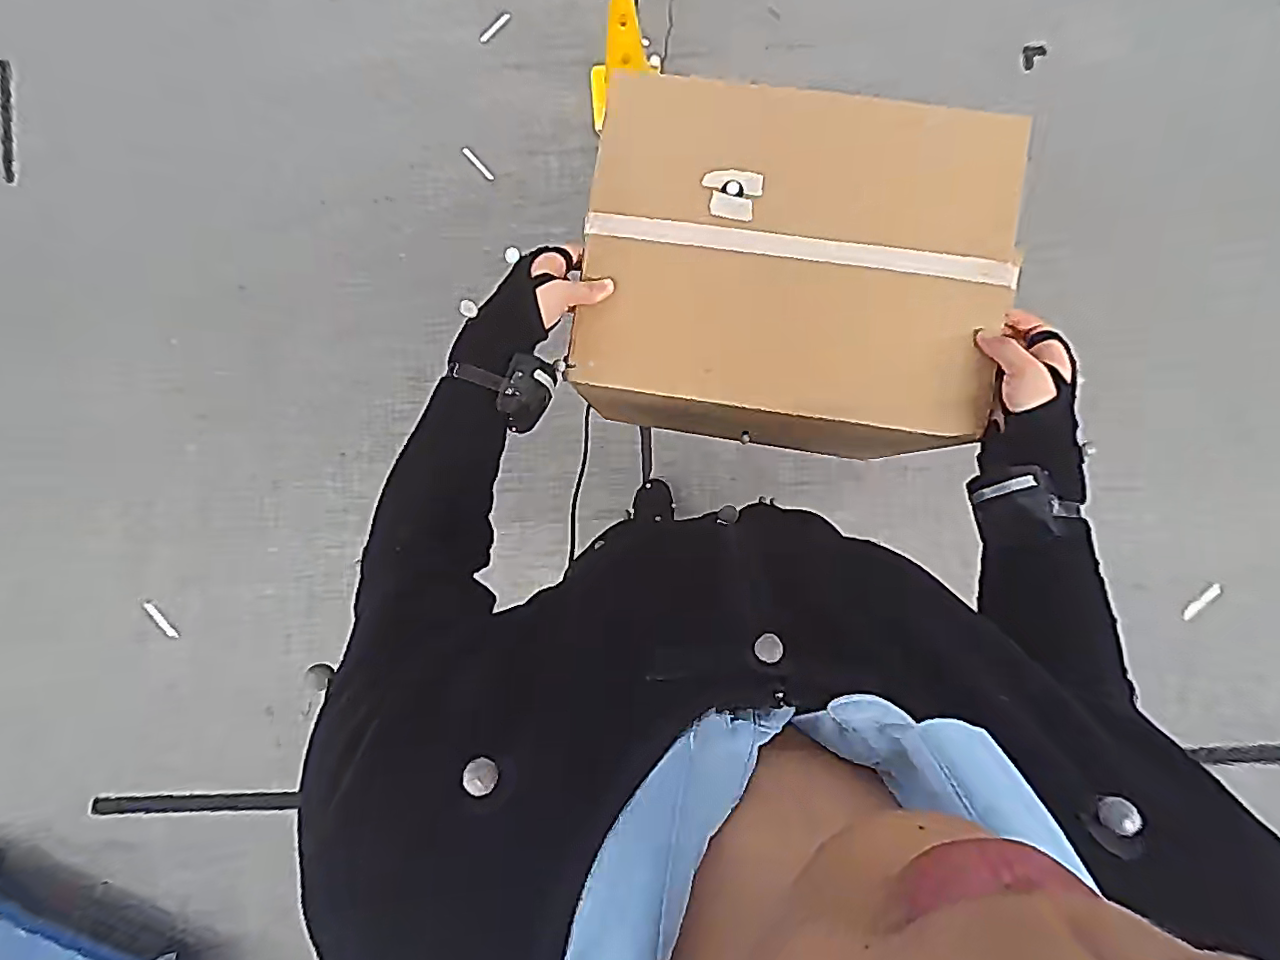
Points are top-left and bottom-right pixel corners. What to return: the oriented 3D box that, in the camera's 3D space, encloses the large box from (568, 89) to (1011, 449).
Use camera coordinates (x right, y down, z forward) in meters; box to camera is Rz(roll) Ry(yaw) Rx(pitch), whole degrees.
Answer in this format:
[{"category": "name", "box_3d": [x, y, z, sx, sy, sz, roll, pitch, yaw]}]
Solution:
[{"category": "large box", "box_3d": [0.155, -0.220, 0.679, 0.408, 0.320, 0.320, 8, 88, 5]}]
